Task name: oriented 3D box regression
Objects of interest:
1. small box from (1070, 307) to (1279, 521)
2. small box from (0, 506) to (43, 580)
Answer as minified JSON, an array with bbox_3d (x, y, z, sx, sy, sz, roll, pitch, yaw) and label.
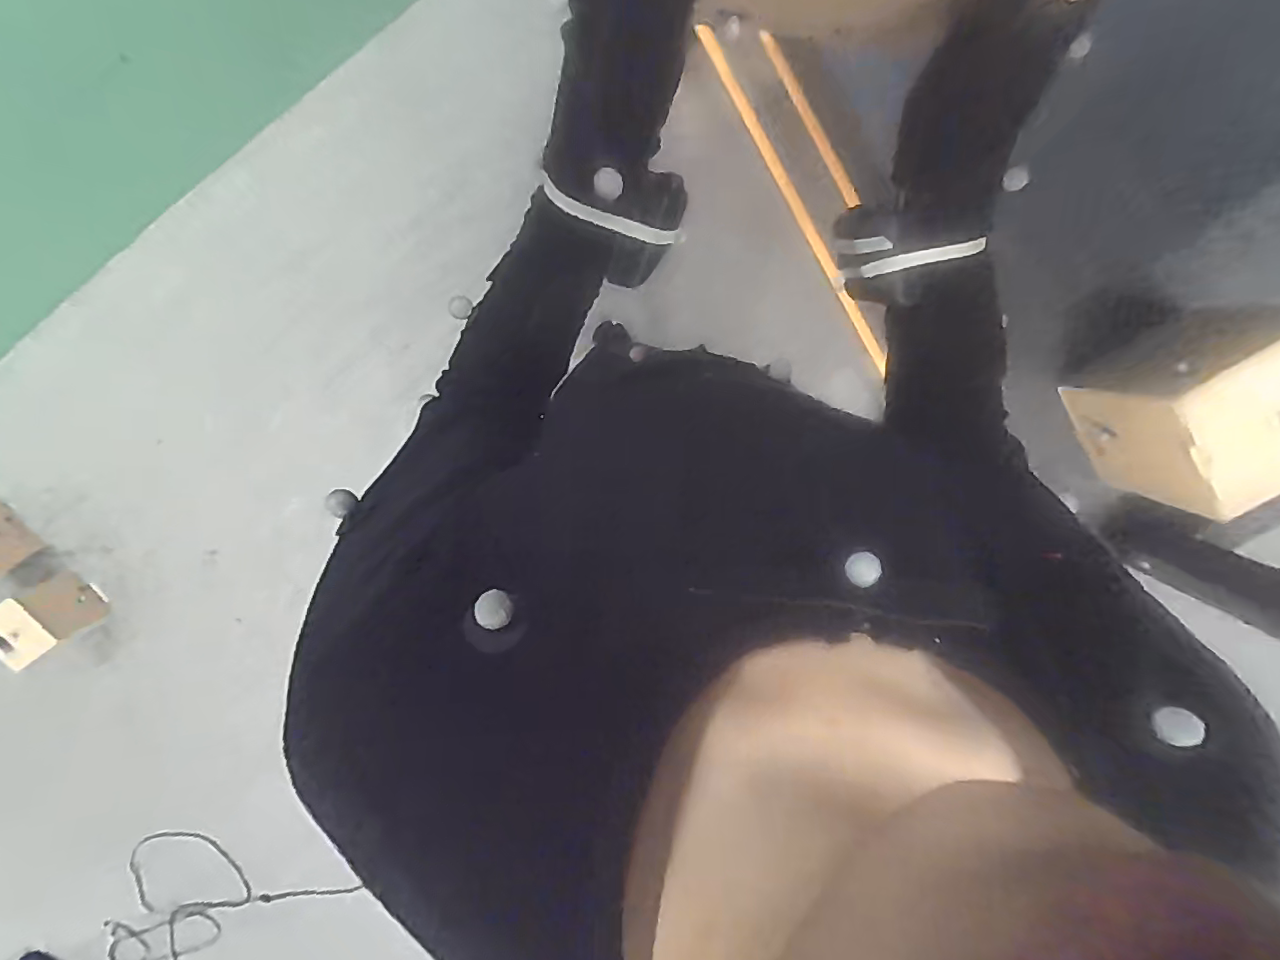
[{"bbox_3d":[0.664,-0.086,0.623,0.179,0.176,0.168,-33,102,9],"label":"small box"},{"bbox_3d":[-1.817,0.193,1.477,0.179,0.176,0.168,-32,102,8],"label":"small box"}]
